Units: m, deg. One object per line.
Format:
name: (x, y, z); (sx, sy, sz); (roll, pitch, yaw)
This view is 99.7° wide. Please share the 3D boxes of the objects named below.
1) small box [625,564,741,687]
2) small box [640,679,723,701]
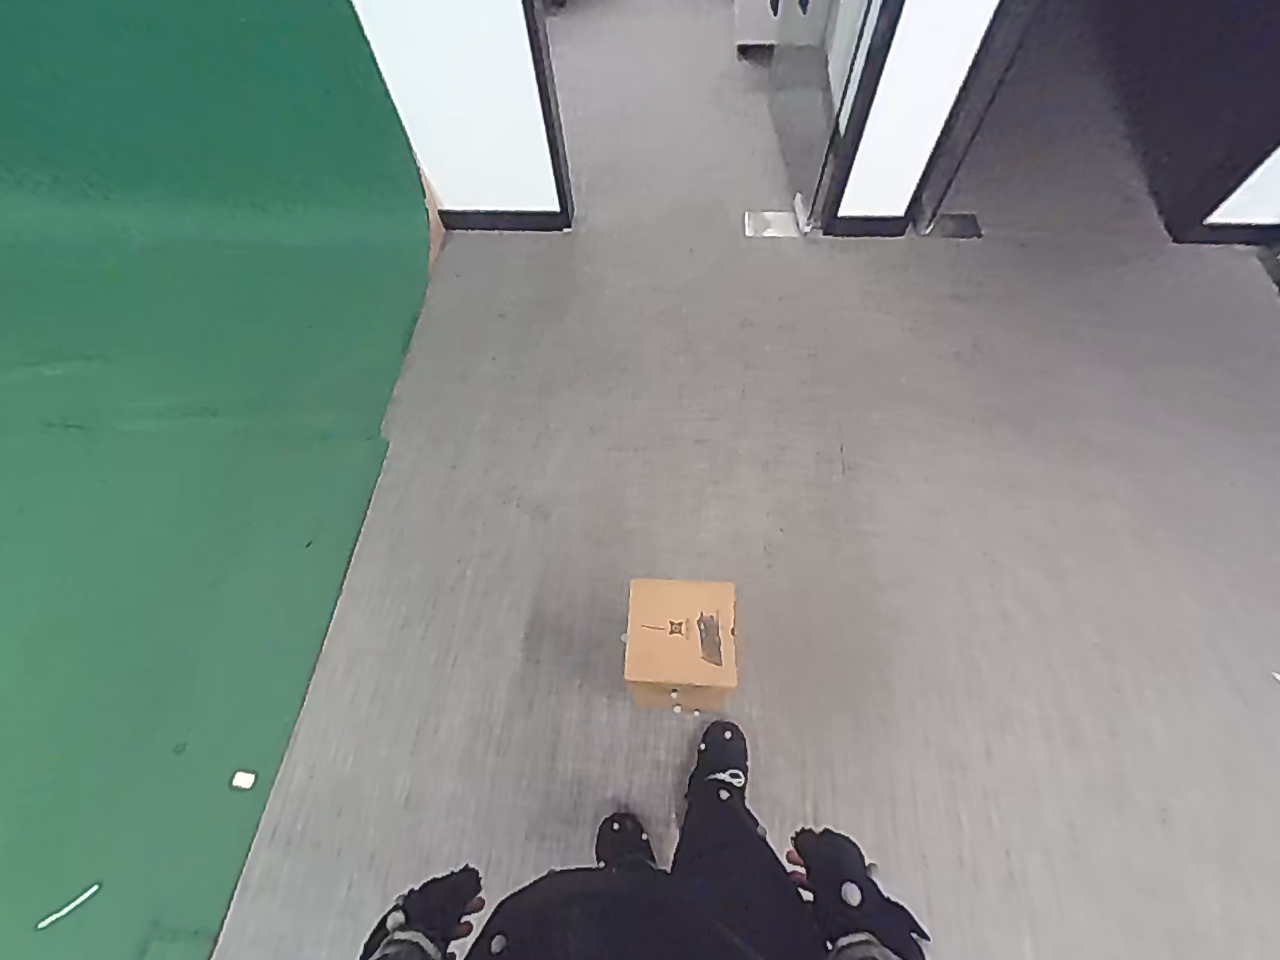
small box: (0.075, 0.258, 0.941); (0.179, 0.176, 0.168); (5, 62, 5)
small box: (0.096, 0.407, 1.236); (0.179, 0.176, 0.168); (1, 63, 5)
